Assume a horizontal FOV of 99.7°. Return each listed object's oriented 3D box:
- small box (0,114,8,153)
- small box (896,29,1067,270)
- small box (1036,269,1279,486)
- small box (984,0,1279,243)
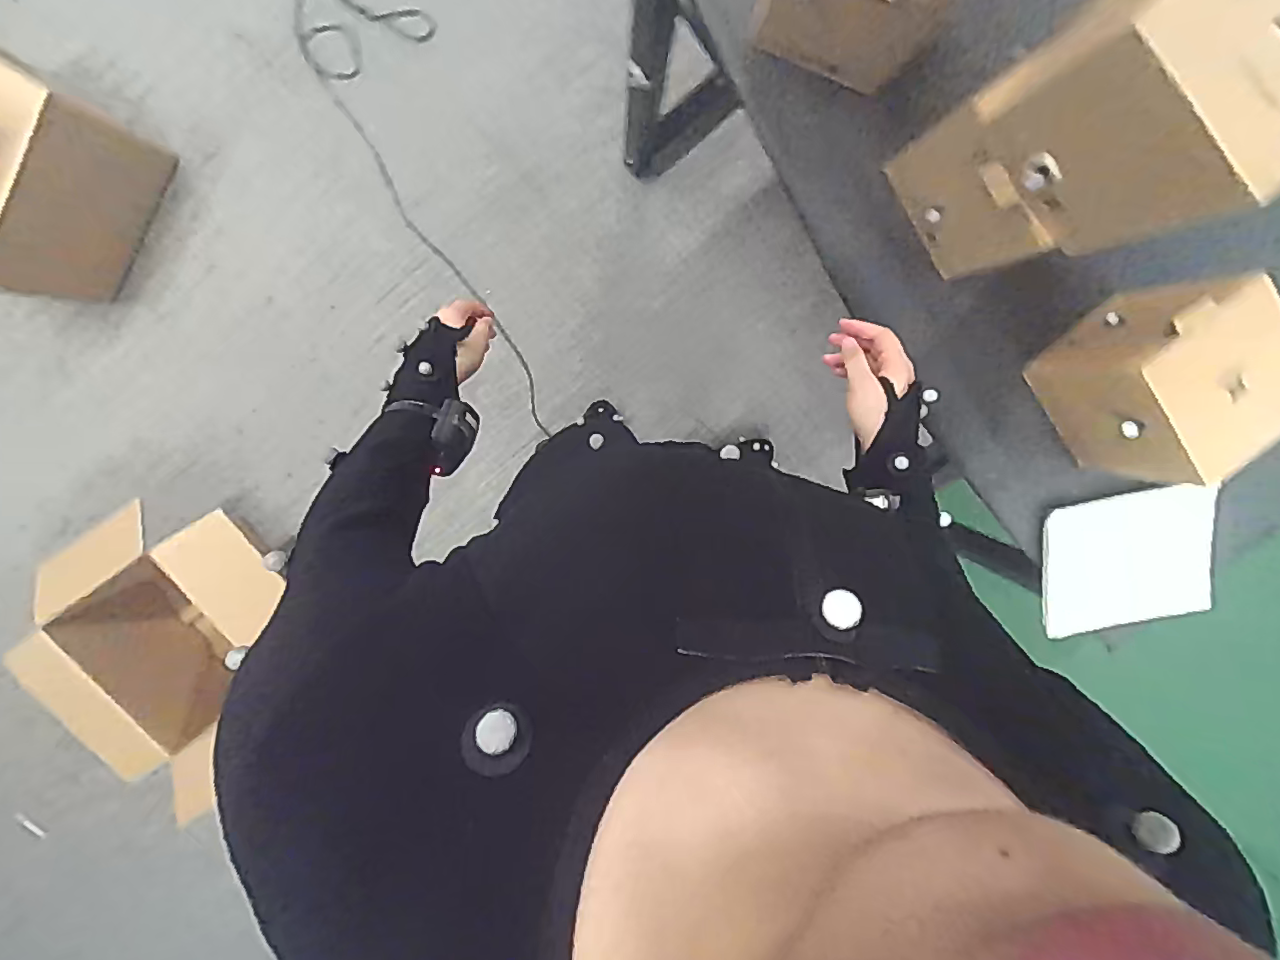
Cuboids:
[{"bbox_3d":[-1.256,-0.610,0.911,0.168,0.176,0.179,33,98,-10],"label":"small box"},{"bbox_3d":[0.431,-0.365,0.602,0.179,0.176,0.168,-35,99,4],"label":"small box"},{"bbox_3d":[0.646,-0.121,0.658,0.168,0.176,0.179,-39,99,4],"label":"small box"},{"bbox_3d":[0.440,-0.333,0.443,0.168,0.176,0.179,43,96,-8],"label":"small box"}]
